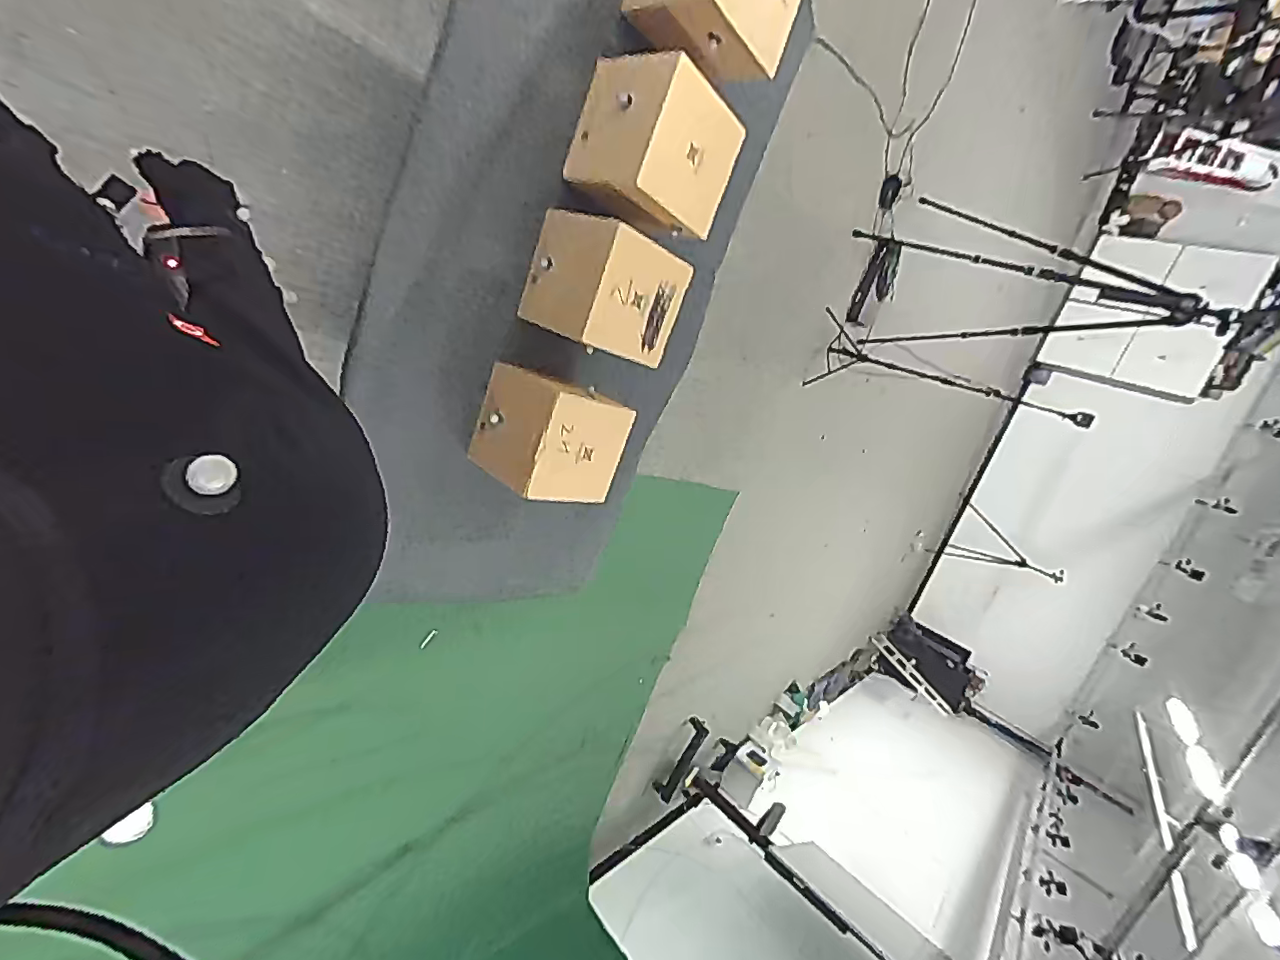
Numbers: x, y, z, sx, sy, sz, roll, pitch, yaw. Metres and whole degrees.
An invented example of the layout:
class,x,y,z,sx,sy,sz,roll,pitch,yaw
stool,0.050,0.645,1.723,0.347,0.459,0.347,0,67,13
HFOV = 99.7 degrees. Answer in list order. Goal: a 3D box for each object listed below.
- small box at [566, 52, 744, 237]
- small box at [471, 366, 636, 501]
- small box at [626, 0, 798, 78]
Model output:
class,x,y,z,sx,sy,sz,roll,pitch,yaw
small box,0.018,-0.487,0.806,0.179,0.176,0.168,7,108,-52
small box,-0.143,-0.075,0.887,0.179,0.176,0.168,6,108,-51
small box,0.108,-0.701,0.764,0.179,0.176,0.168,2,113,-51
